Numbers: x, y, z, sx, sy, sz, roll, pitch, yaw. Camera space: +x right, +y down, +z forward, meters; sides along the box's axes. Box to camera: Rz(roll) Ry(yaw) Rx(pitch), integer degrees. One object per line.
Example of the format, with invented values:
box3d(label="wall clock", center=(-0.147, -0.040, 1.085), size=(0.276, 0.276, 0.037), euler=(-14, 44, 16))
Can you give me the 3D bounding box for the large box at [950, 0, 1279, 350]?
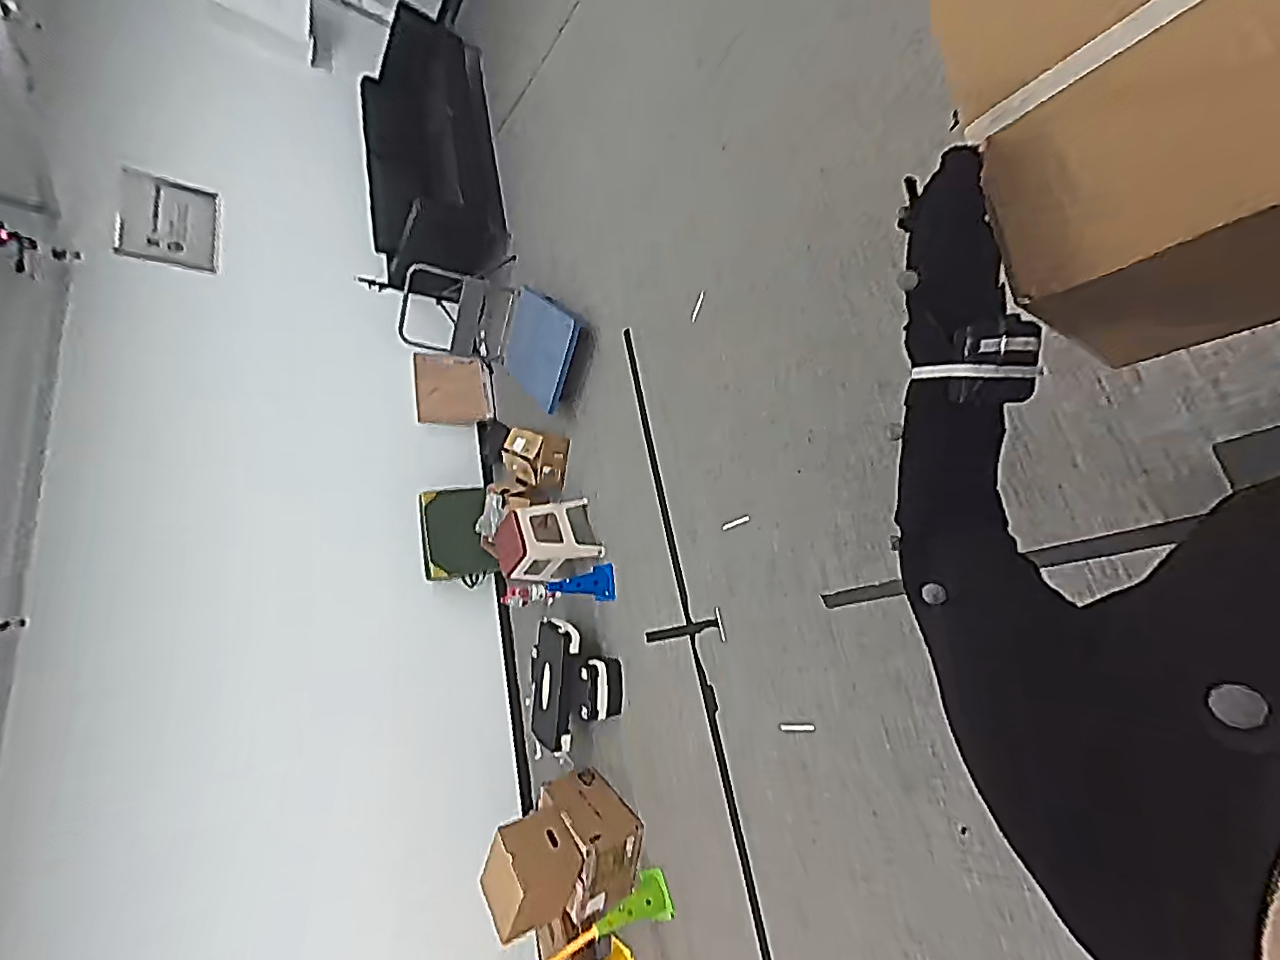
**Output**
box3d(label="large box", center=(0.526, -0.339, 0.397), size=(0.408, 0.320, 0.320), euler=(-19, 74, 49))
